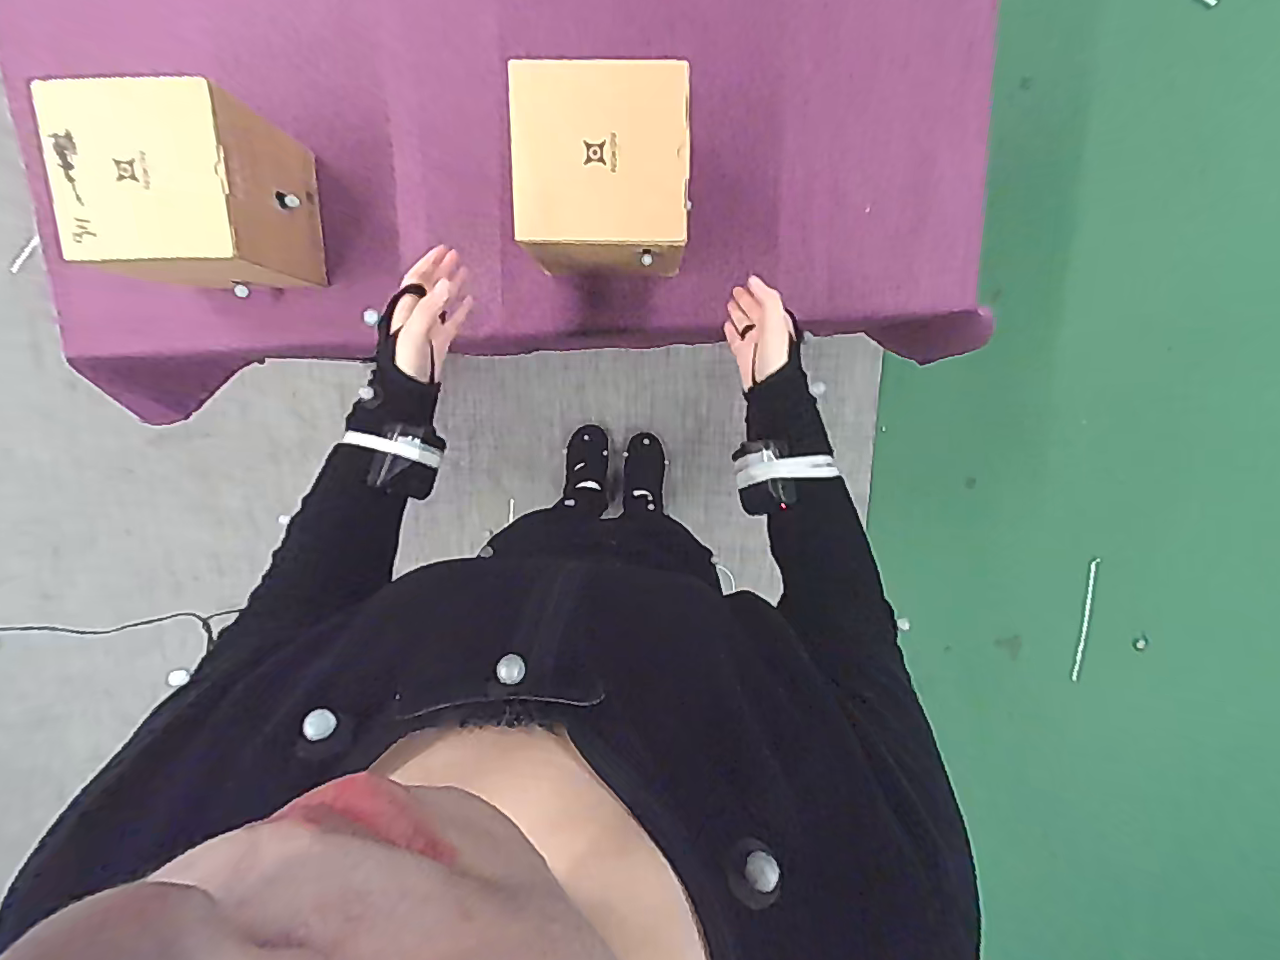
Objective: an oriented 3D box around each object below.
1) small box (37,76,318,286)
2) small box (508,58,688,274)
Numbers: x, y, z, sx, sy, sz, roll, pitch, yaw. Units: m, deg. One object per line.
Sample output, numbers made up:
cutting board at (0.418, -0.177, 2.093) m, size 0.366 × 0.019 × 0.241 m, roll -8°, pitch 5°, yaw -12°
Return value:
small box at (-0.493, -0.320, 0.612) m, size 0.179 × 0.176 × 0.168 m, roll 0°, pitch 100°, yaw 0°
small box at (-0.041, -0.334, 0.609) m, size 0.179 × 0.176 × 0.168 m, roll 1°, pitch 100°, yaw 0°
